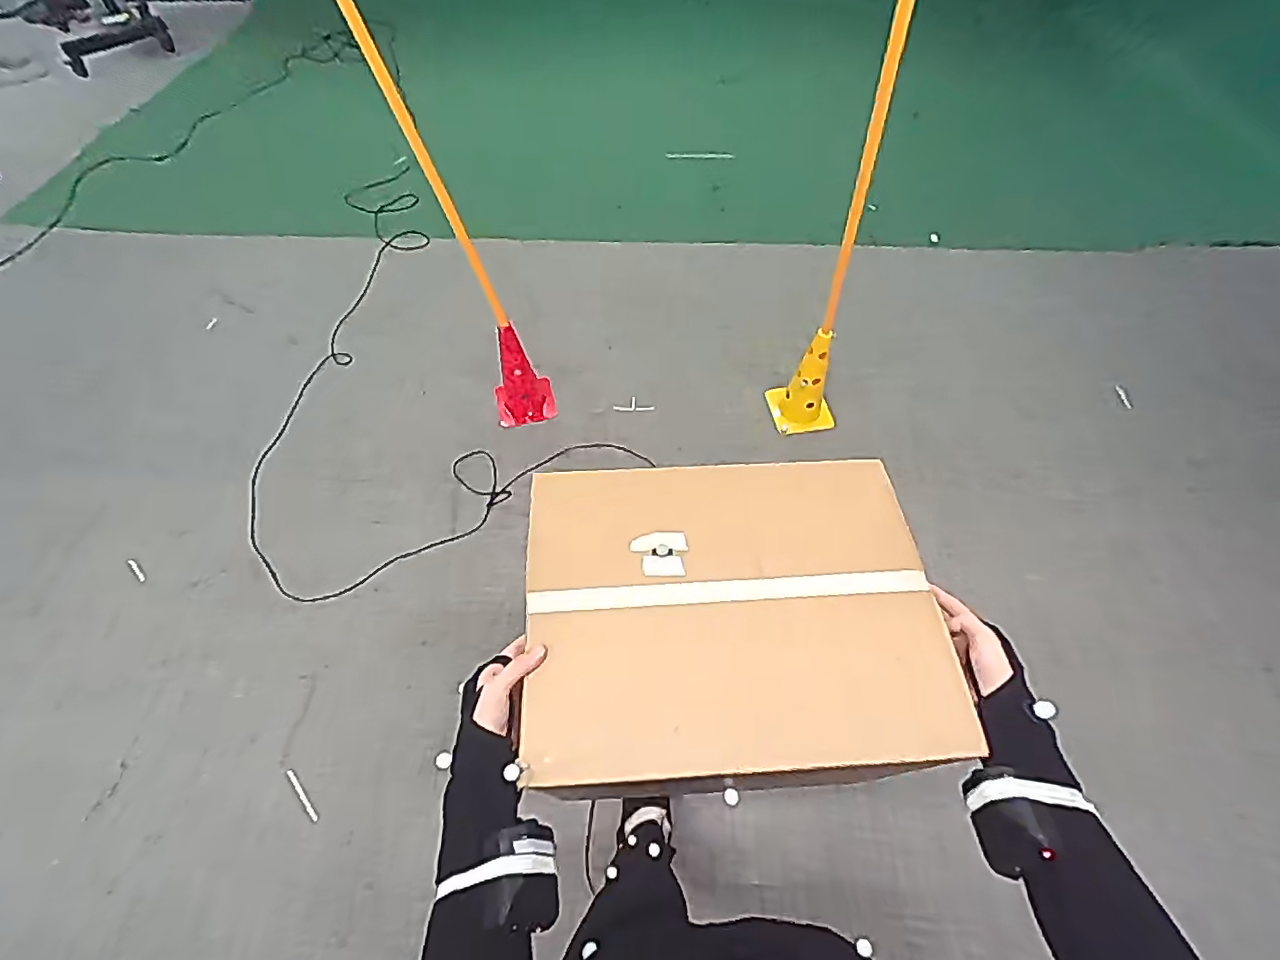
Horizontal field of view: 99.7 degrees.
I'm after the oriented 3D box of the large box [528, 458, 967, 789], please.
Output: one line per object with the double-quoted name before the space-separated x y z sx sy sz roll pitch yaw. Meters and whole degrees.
"large box" 0.091 0.194 0.682 0.408 0.320 0.320 -3 57 -2
